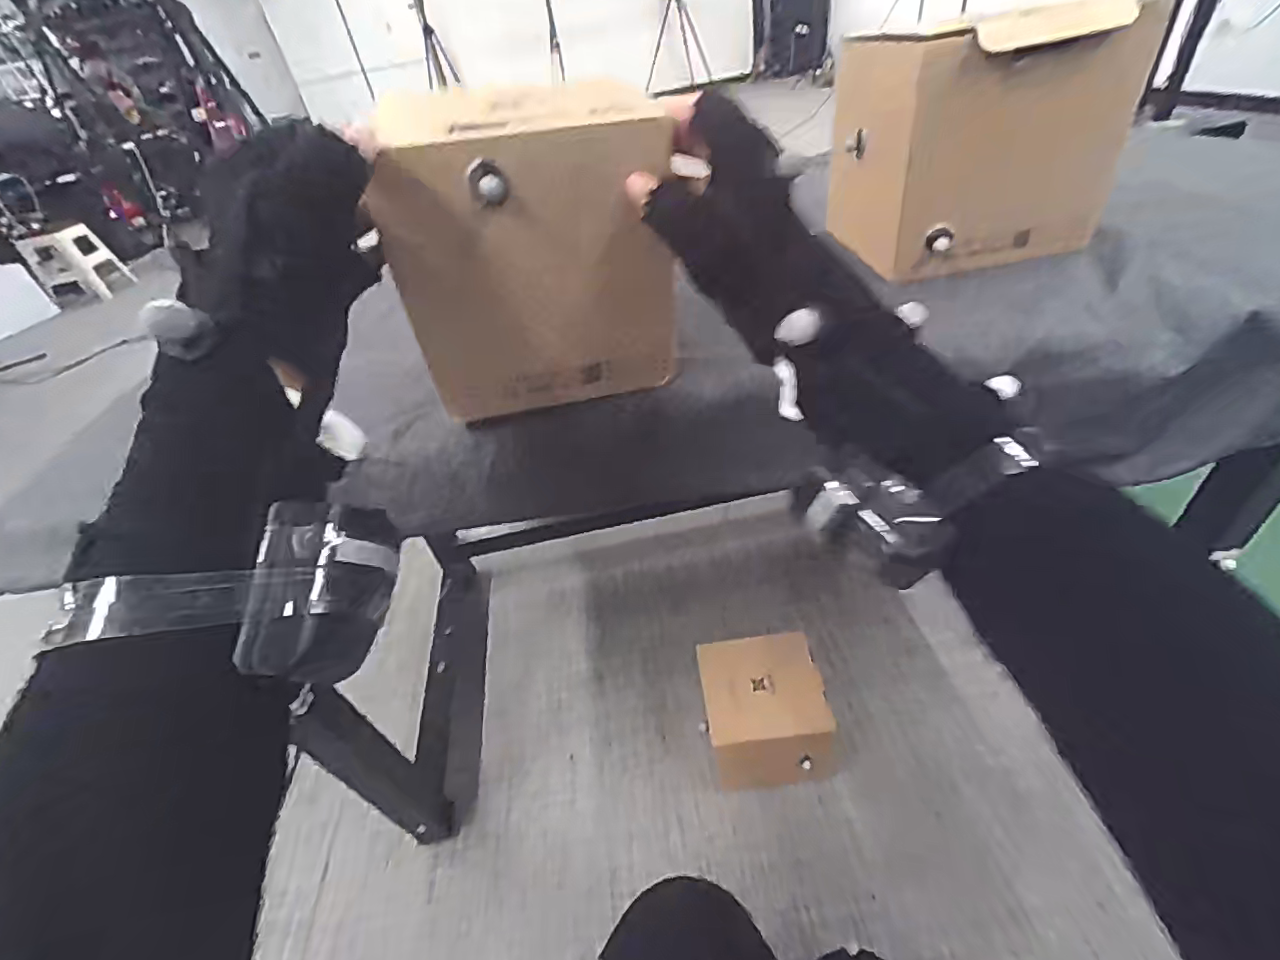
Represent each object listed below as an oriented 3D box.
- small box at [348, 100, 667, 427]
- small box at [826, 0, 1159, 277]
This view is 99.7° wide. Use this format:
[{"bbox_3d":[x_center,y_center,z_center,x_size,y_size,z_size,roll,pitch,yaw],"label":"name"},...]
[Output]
[{"bbox_3d":[-0.081,-0.162,0.397,0.168,0.176,0.179,-12,41,-6],"label":"small box"},{"bbox_3d":[0.274,-0.292,0.477,0.168,0.176,0.179,-9,39,3],"label":"small box"}]
